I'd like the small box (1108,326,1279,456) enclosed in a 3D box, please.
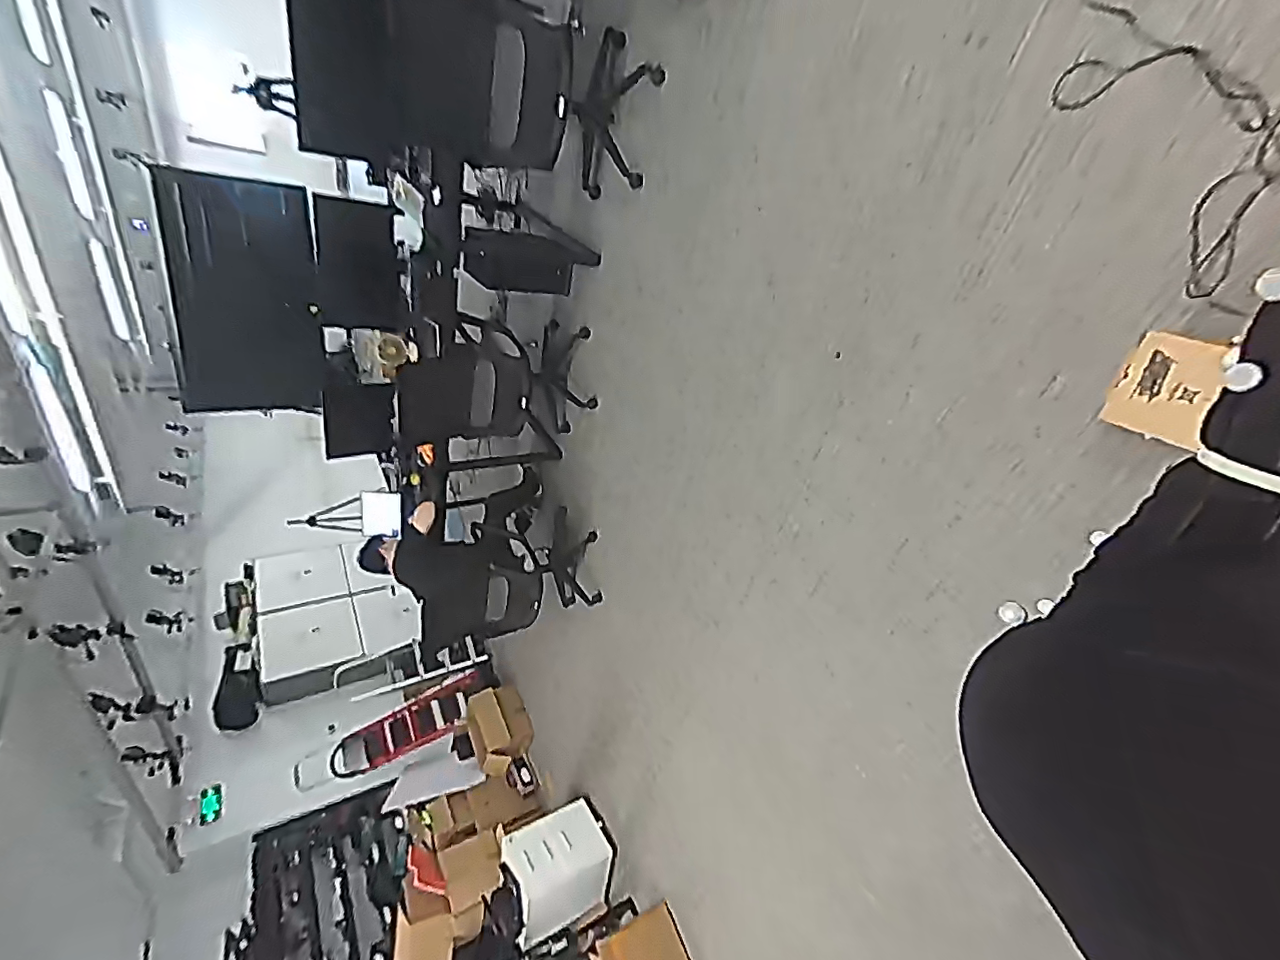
[{"bbox_3d":[0.975,-0.157,0.927,0.179,0.176,0.168,42,132,45],"label":"small box"}]
